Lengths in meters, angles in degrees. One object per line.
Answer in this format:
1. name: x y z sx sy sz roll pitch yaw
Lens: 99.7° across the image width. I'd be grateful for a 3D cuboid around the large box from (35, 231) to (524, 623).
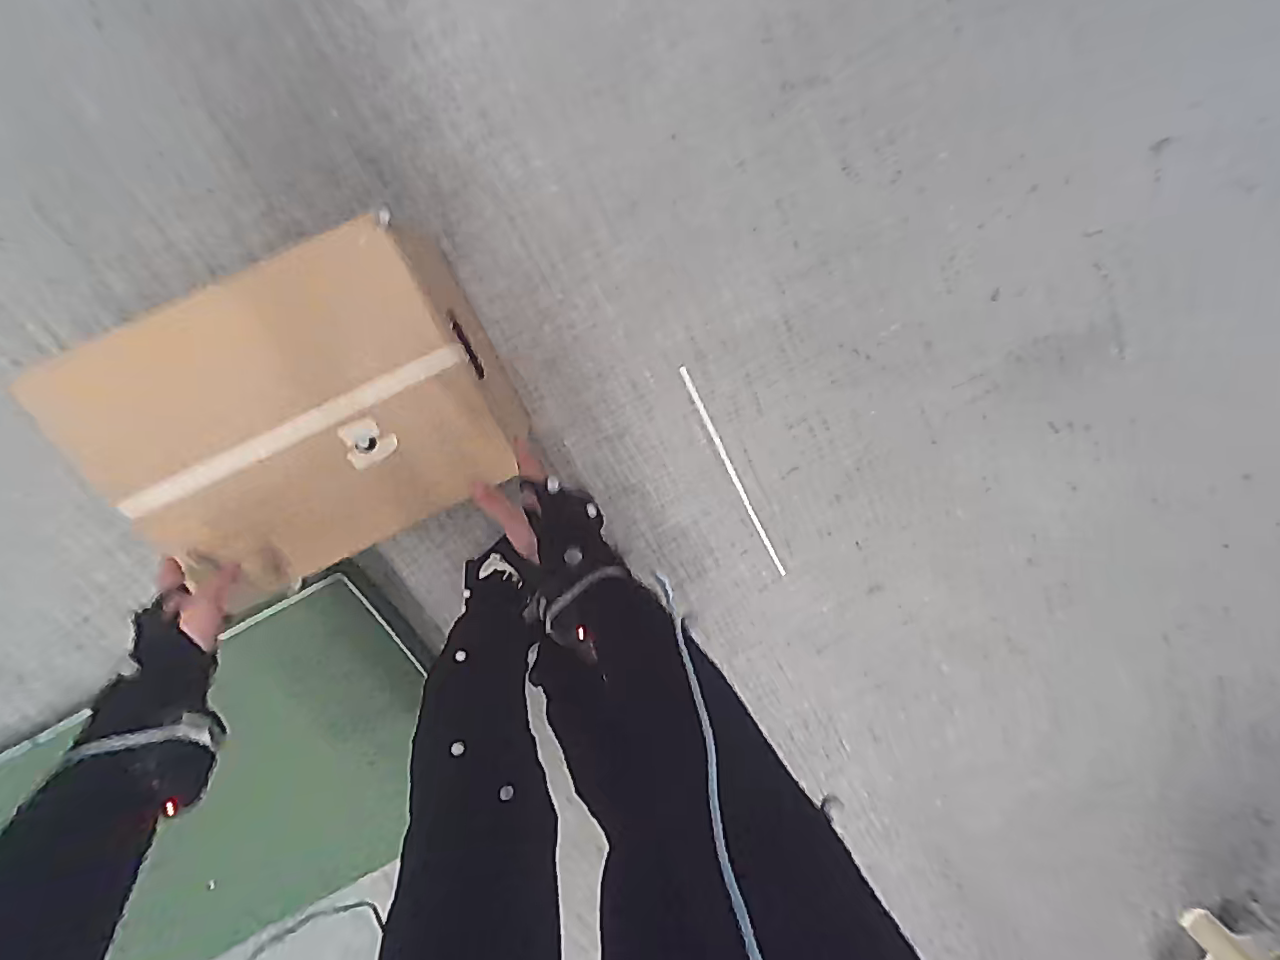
1. large box: -0.411 -0.084 0.746 0.408 0.320 0.320 -26 111 -2
